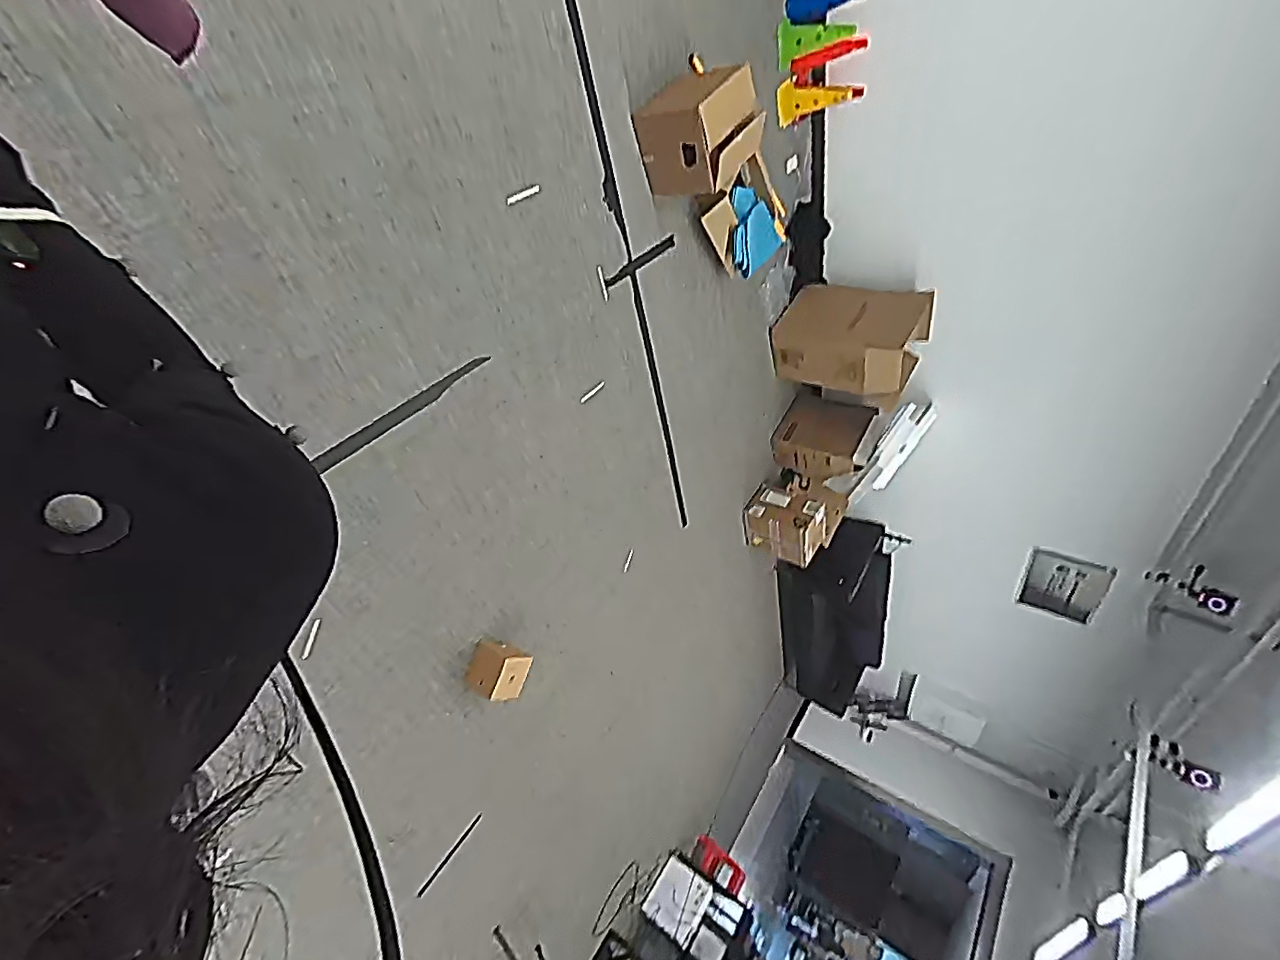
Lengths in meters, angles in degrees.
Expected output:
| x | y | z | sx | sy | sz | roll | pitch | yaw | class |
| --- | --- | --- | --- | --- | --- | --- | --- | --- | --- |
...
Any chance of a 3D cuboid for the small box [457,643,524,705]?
| x | y | z | sx | sy | sz | roll | pitch | yaw | class |
| --- | --- | --- | --- | --- | --- | --- | --- | --- | --- |
| -0.603 | 0.774 | 2.170 | 0.168 | 0.176 | 0.179 | 27 | 81 | -58 | small box |
